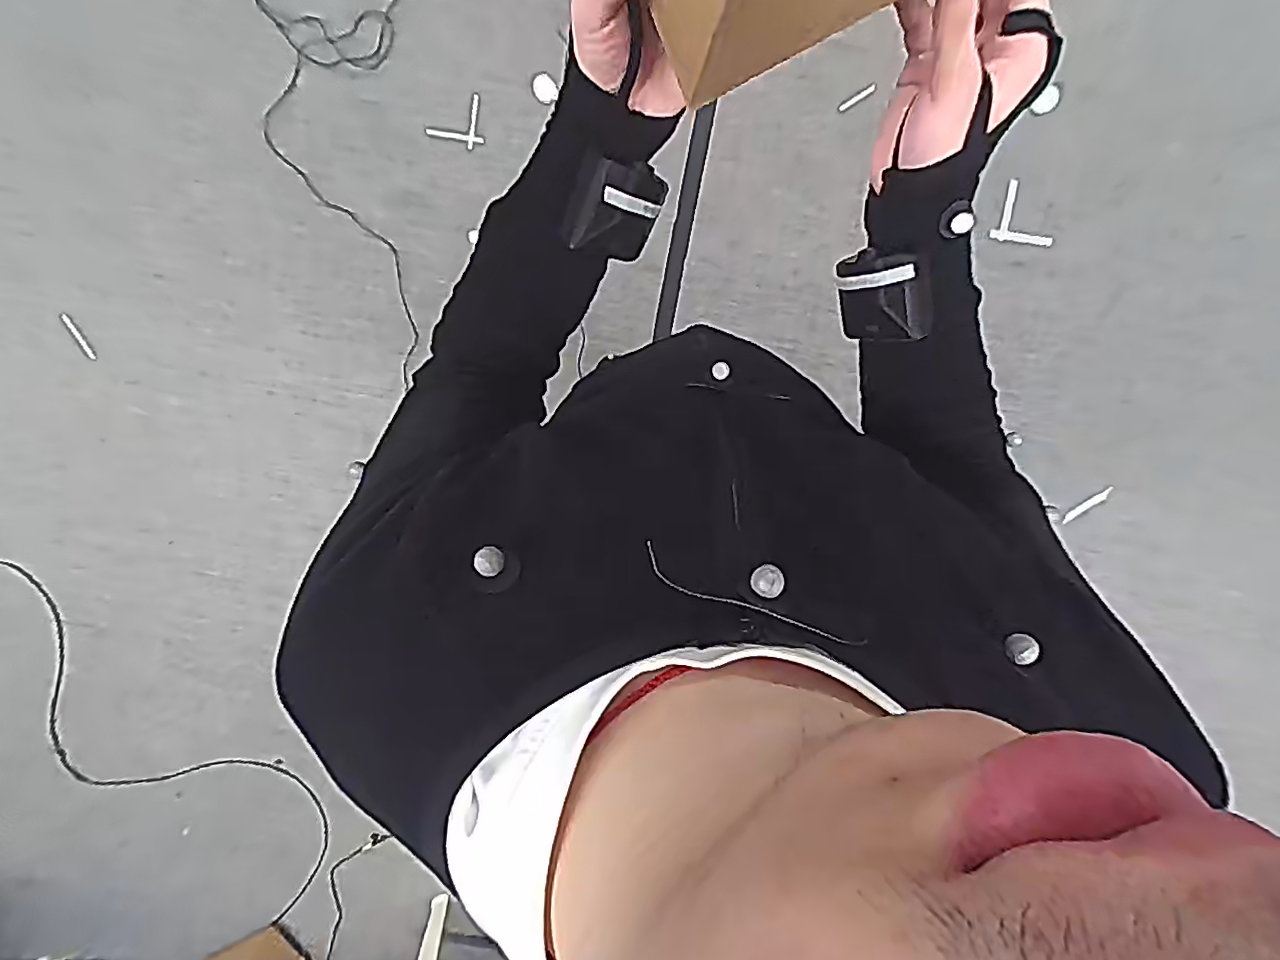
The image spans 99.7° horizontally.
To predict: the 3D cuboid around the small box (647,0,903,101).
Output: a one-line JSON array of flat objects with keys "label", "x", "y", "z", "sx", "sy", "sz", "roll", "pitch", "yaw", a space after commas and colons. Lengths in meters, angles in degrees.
[{"label": "small box", "x": 0.076, "y": -0.288, "z": 0.196, "sx": 0.179, "sy": 0.176, "sz": 0.168, "roll": -26, "pitch": 106, "yaw": 6}]
